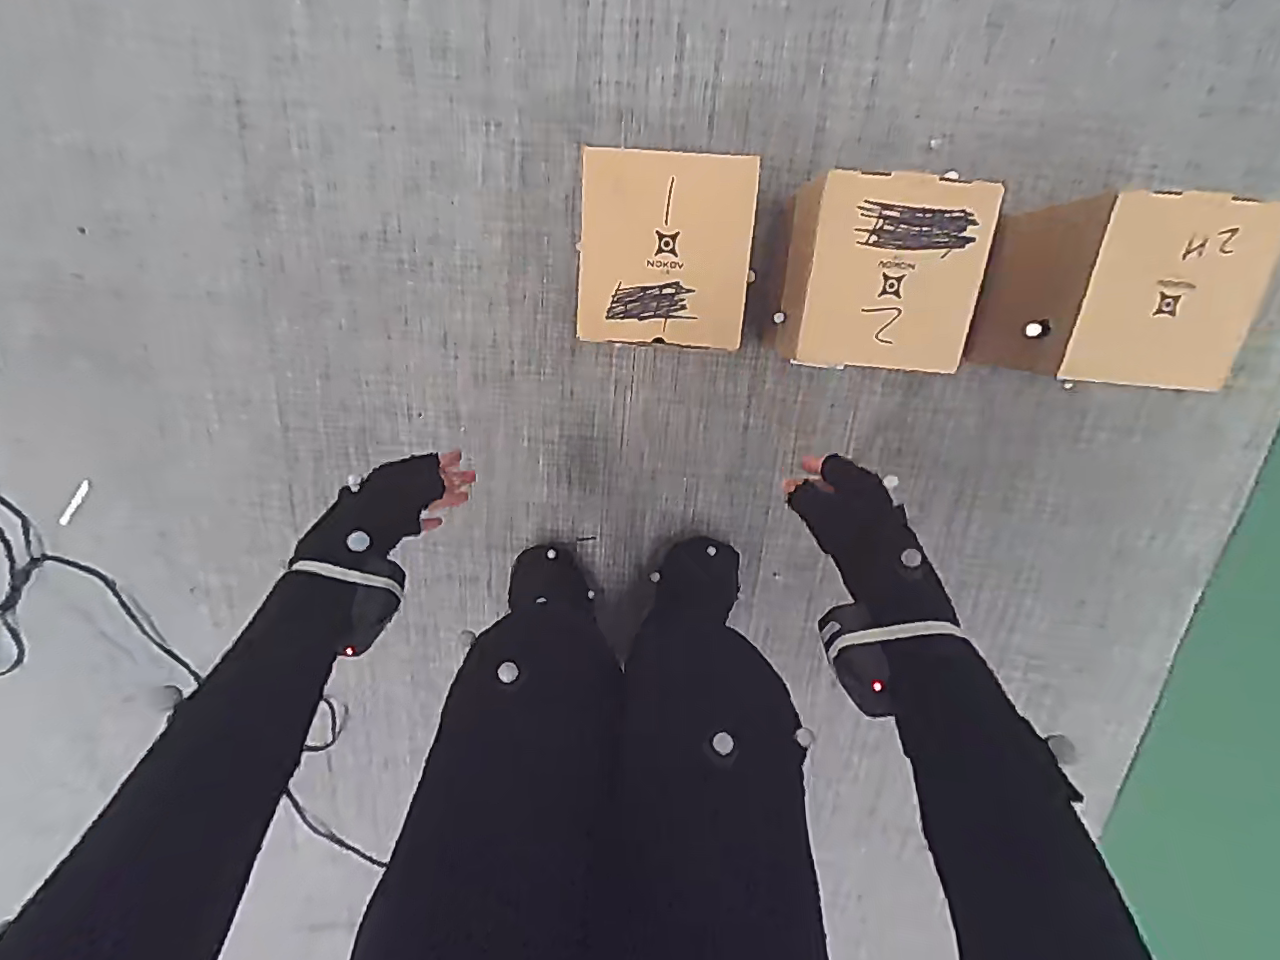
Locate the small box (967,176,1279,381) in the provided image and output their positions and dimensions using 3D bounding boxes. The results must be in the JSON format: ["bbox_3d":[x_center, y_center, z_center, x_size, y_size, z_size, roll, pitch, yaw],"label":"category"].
[{"bbox_3d":[0.498,-0.215,0.595,0.168,0.176,0.179,5,109,0],"label":"small box"}]

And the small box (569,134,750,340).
[{"bbox_3d":[0.019,-0.255,0.597,0.168,0.176,0.179,4,108,1],"label":"small box"}]
